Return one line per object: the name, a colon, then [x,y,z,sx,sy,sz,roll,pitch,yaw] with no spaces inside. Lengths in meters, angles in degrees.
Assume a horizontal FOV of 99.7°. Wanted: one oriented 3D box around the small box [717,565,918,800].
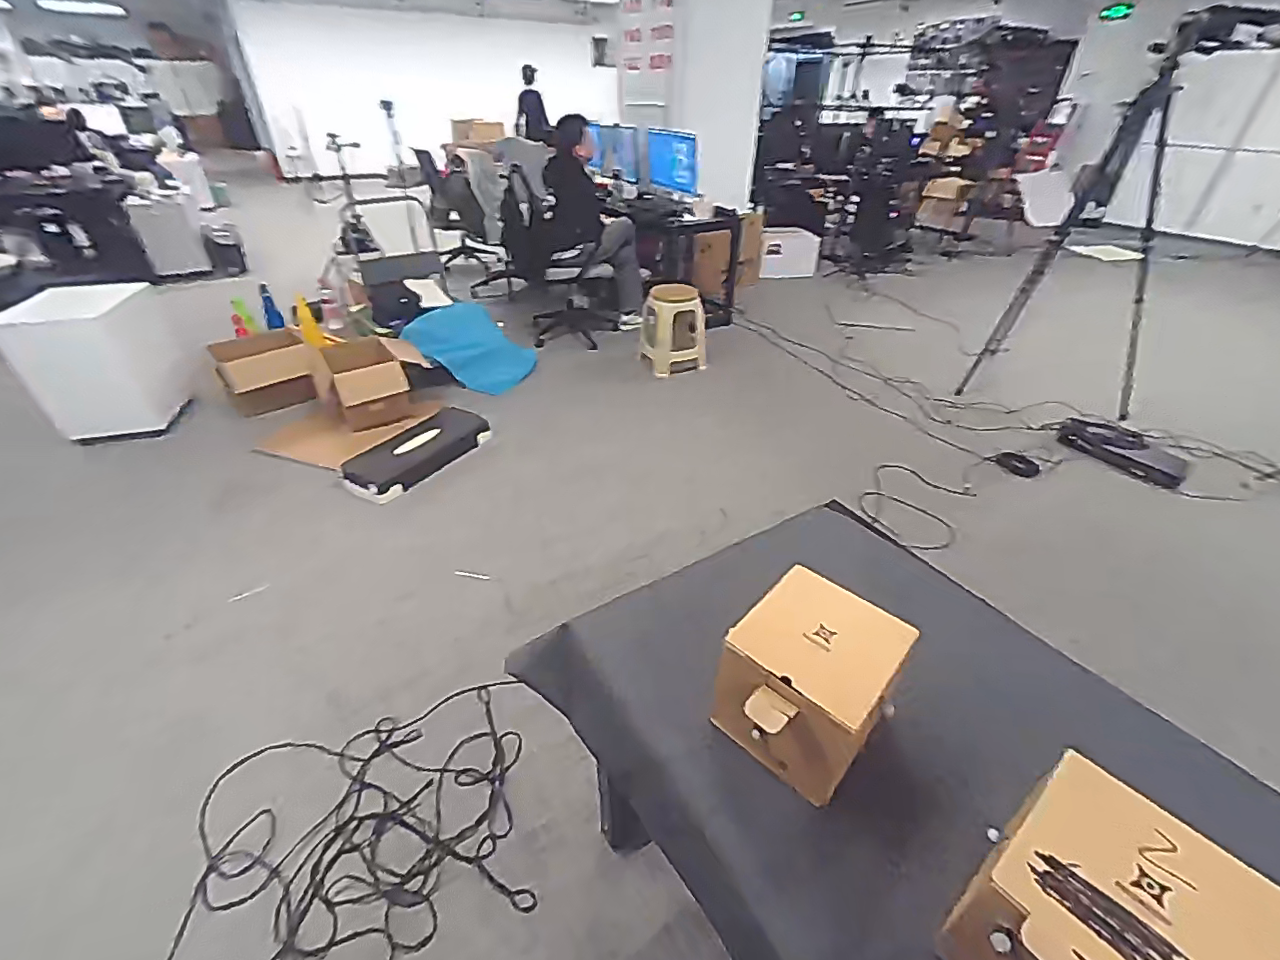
small box: [0.212,0.247,0.679,0.168,0.176,0.179,29,44,33]
